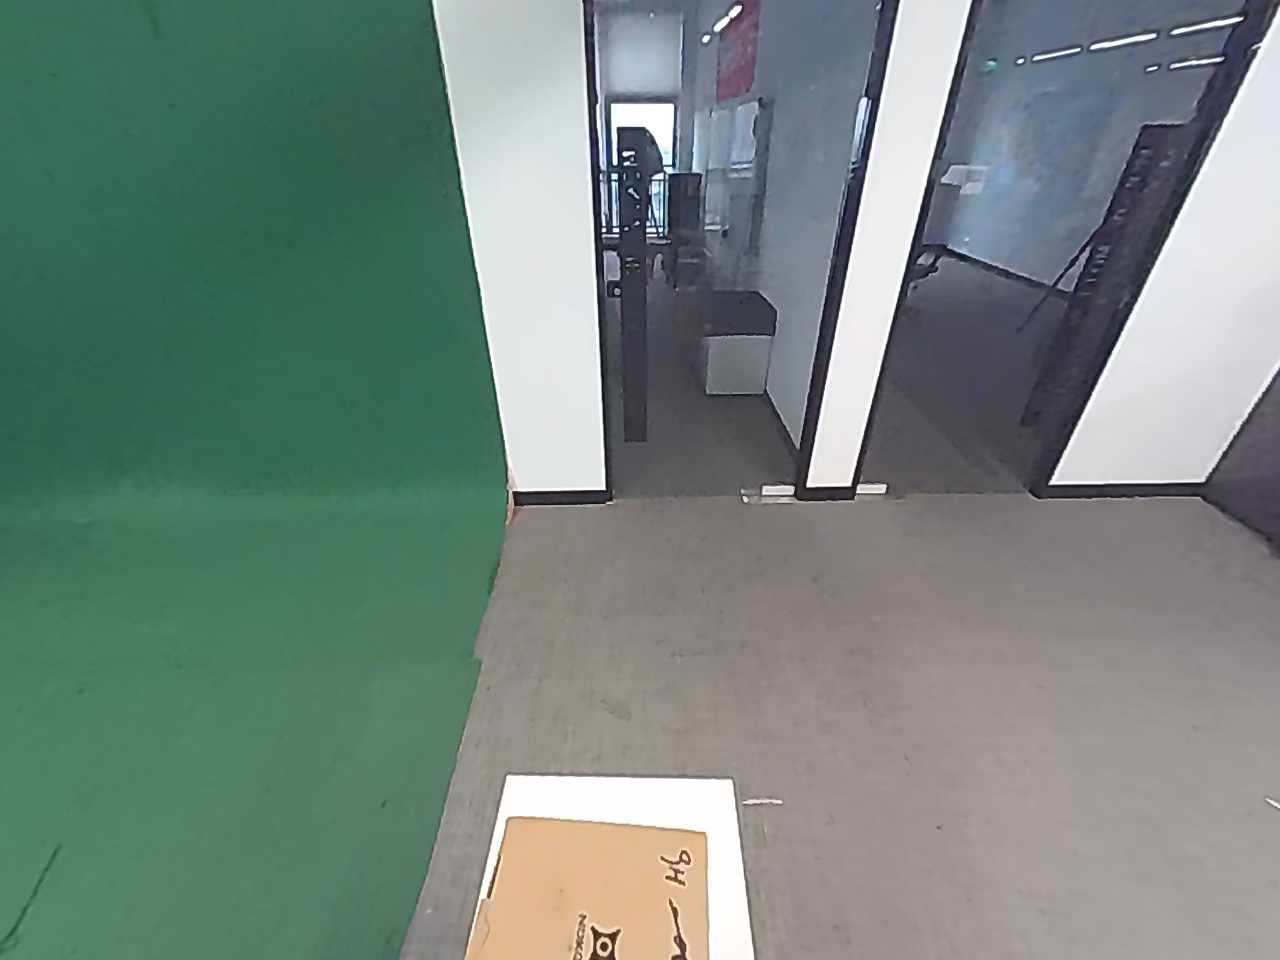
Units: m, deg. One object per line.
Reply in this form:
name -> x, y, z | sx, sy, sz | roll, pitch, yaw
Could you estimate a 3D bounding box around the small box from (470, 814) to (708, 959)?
small box -> -0.036, 0.408, 0.448 | 0.179, 0.176, 0.168 | 3, 37, 4
